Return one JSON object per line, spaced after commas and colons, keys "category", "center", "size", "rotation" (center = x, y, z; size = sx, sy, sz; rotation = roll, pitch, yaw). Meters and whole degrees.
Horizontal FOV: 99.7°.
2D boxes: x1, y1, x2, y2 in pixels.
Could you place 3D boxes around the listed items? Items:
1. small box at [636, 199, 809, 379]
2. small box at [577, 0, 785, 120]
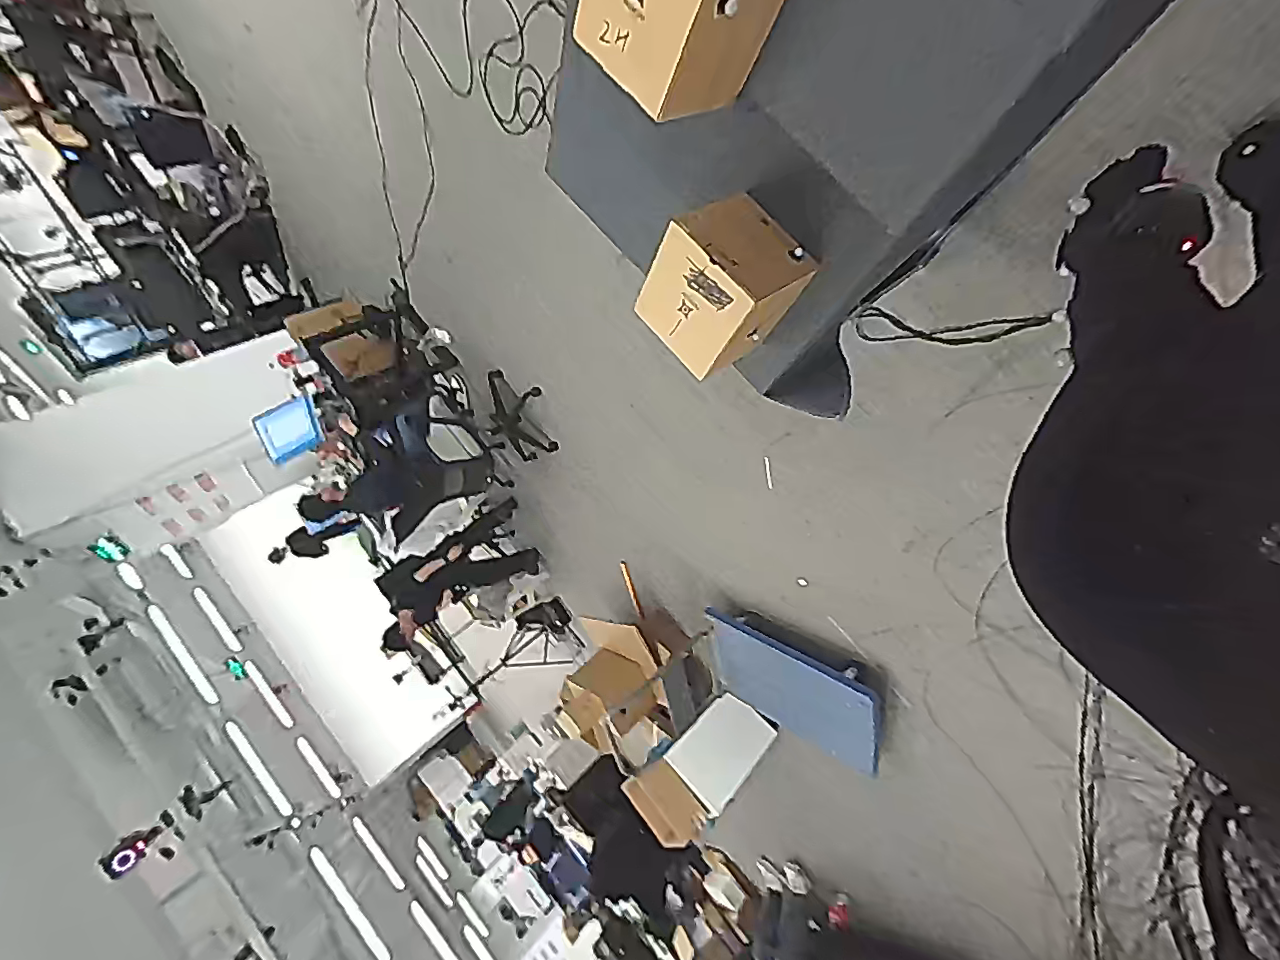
{"category": "small box", "center": [0.129, -0.294, 0.826], "size": [0.168, 0.176, 0.179], "rotation": [49, 148, 9]}
{"category": "small box", "center": [0.057, -0.582, 0.650], "size": [0.168, 0.176, 0.179], "rotation": [49, 147, 6]}
